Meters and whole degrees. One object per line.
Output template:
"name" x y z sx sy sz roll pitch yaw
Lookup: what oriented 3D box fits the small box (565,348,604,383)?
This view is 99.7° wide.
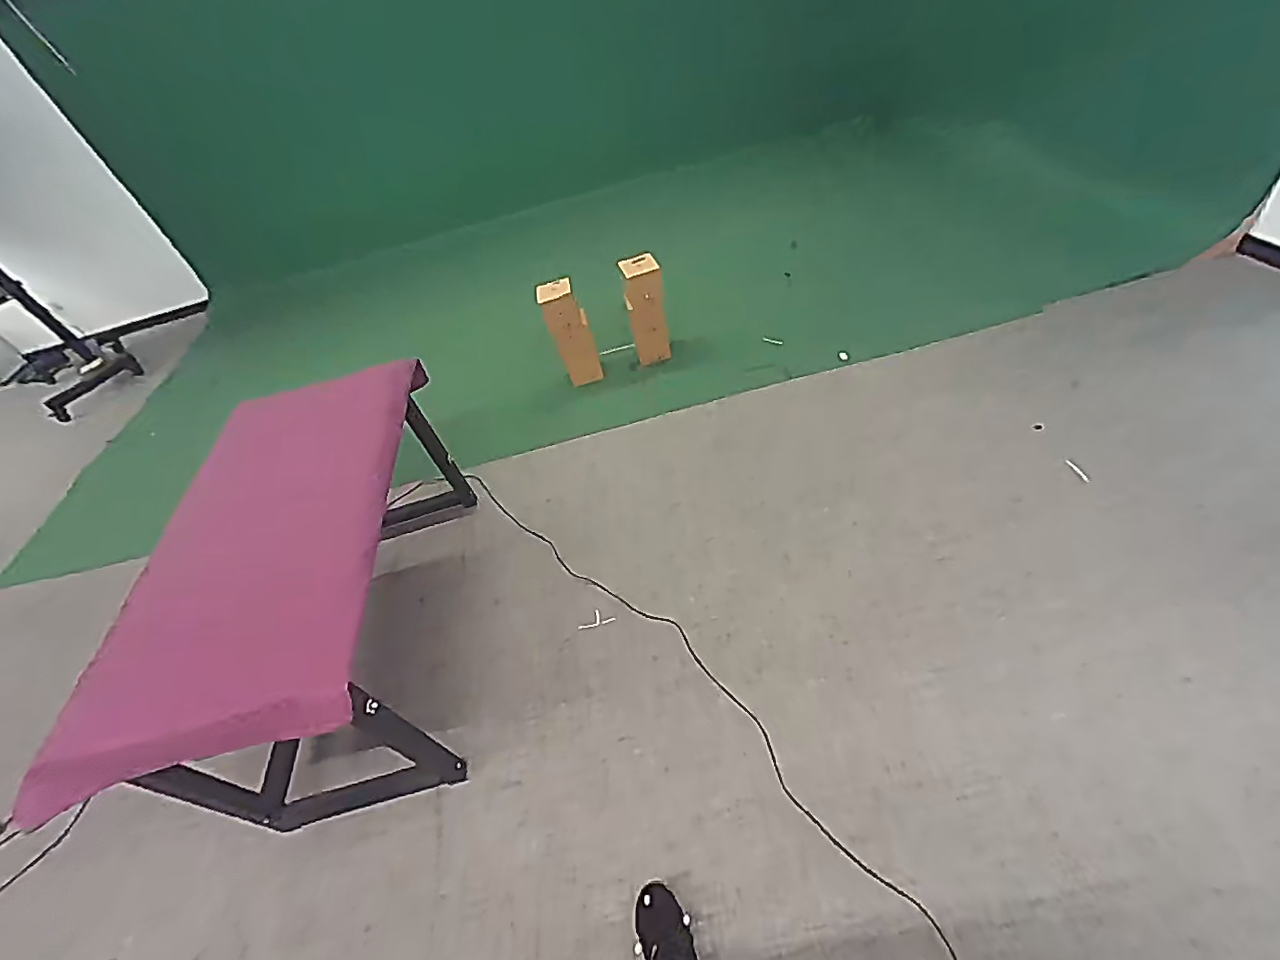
"small box" -0.297 -0.630 2.840 0.168 0.176 0.179 -17 45 2

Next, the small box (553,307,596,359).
"small box" -0.334 -0.736 2.721 0.179 0.176 0.168 -16 45 1

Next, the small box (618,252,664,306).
"small box" 0.006 -0.967 2.607 0.168 0.176 0.179 -19 48 -3

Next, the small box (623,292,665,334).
"small box" 0.024 -0.855 2.726 0.168 0.176 0.179 -15 46 1

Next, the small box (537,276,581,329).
"small box" -0.391 -0.850 2.615 0.168 0.176 0.179 -16 46 3
